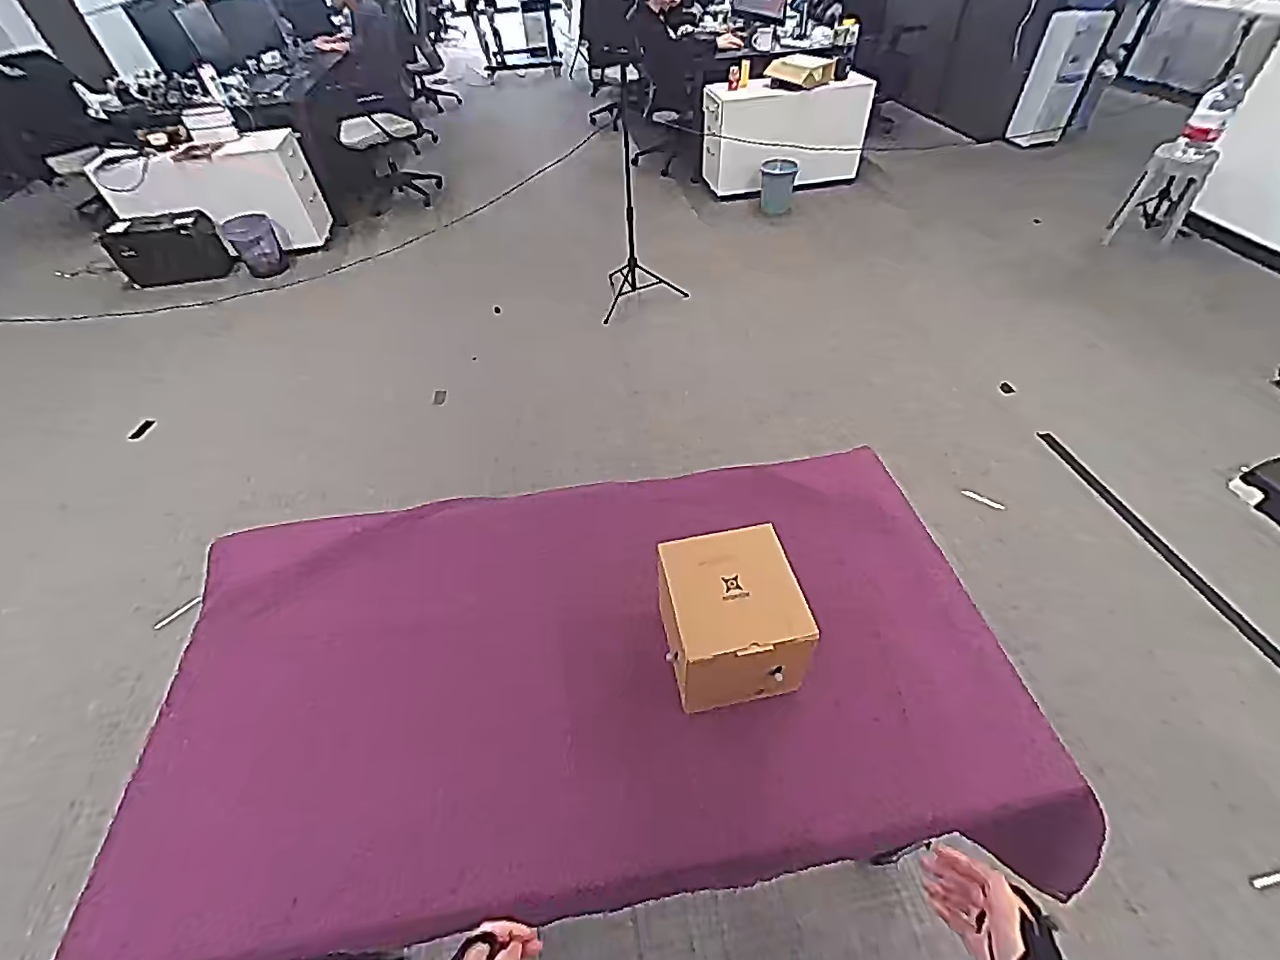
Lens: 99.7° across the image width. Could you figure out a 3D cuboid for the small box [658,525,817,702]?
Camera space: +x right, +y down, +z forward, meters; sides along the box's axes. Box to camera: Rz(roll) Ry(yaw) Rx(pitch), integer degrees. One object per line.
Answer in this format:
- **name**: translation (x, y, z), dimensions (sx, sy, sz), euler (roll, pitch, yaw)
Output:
- **small box**: translation (0.123, 0.191, 0.751), dimensions (0.168, 0.176, 0.179), euler (-9, 47, -5)
